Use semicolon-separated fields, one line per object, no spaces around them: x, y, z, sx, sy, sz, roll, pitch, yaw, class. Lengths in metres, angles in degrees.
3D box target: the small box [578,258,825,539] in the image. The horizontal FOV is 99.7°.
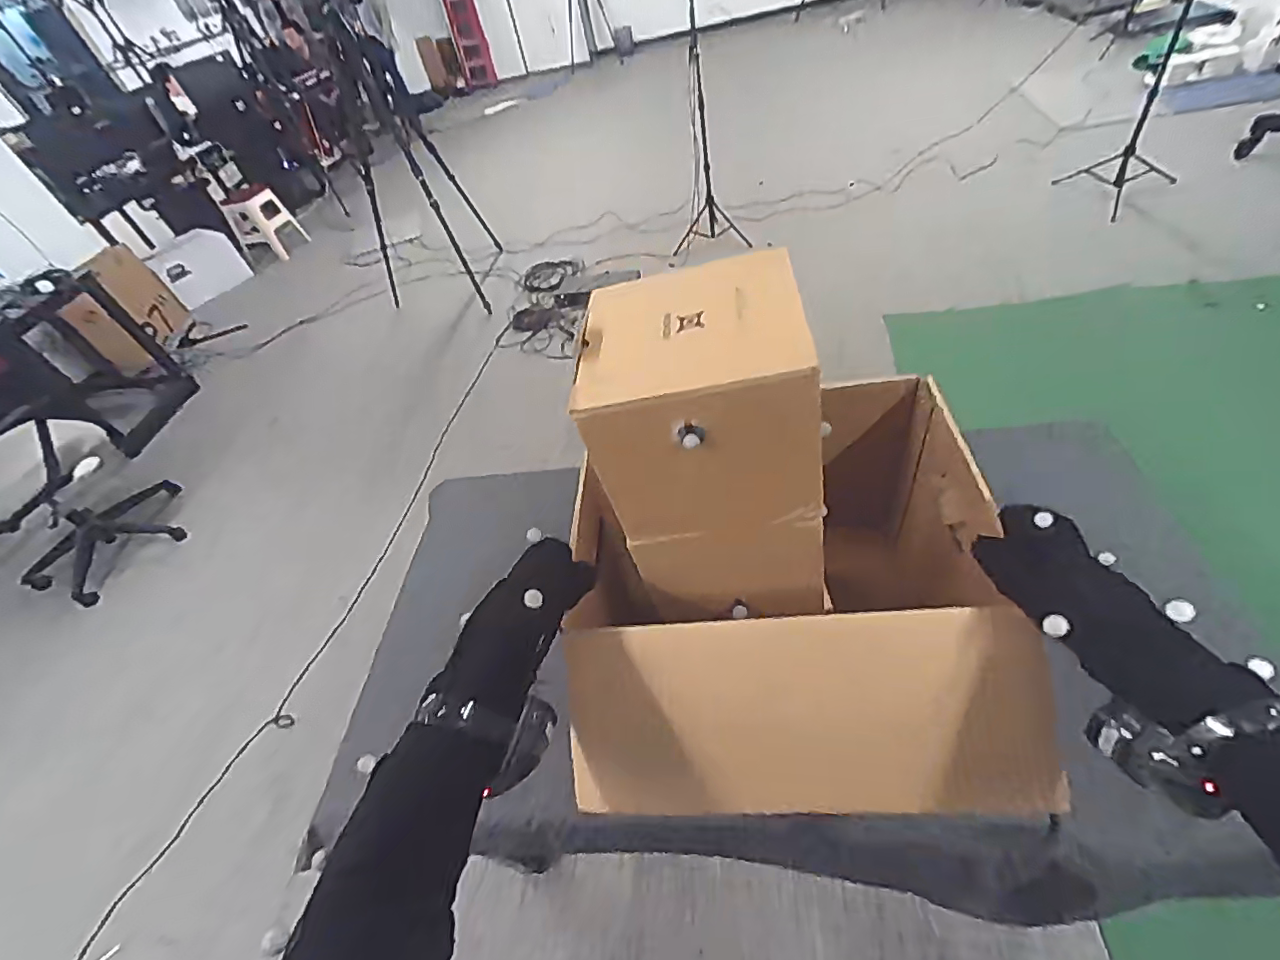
0.061;-0.063;0.480;0.179;0.176;0.168;-8;48;11;small box
